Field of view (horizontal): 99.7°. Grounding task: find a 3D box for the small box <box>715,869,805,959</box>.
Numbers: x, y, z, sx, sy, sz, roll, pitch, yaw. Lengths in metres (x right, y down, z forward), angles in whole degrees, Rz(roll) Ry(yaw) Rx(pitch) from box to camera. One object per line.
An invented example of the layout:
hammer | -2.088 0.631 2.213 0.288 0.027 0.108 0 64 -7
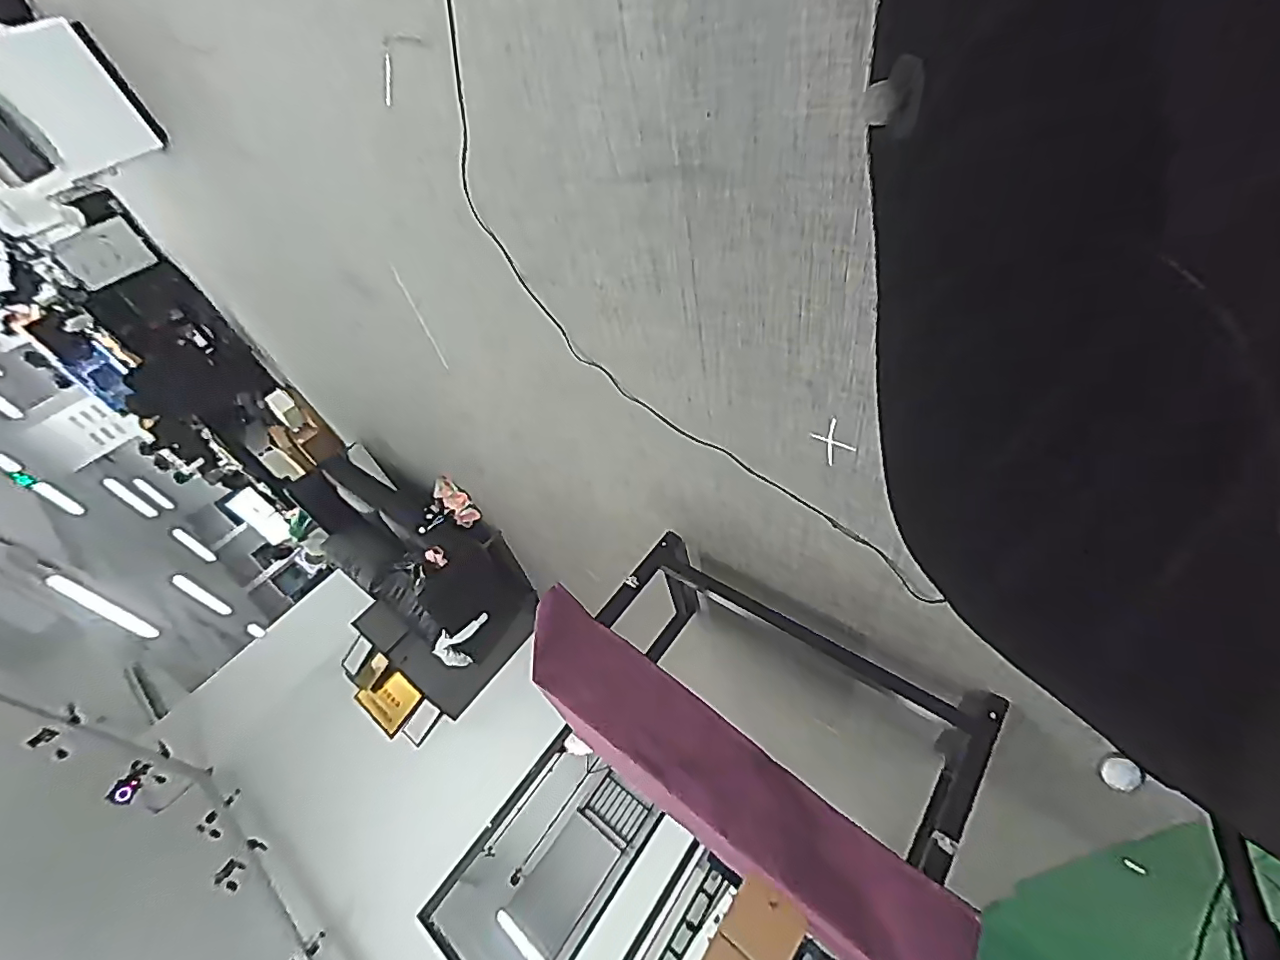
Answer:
small box | 0.330 1.202 1.477 0.179 0.176 0.168 24 148 34

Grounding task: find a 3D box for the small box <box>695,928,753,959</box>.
small box | 0.228 1.309 1.403 0.179 0.176 0.168 23 147 33
